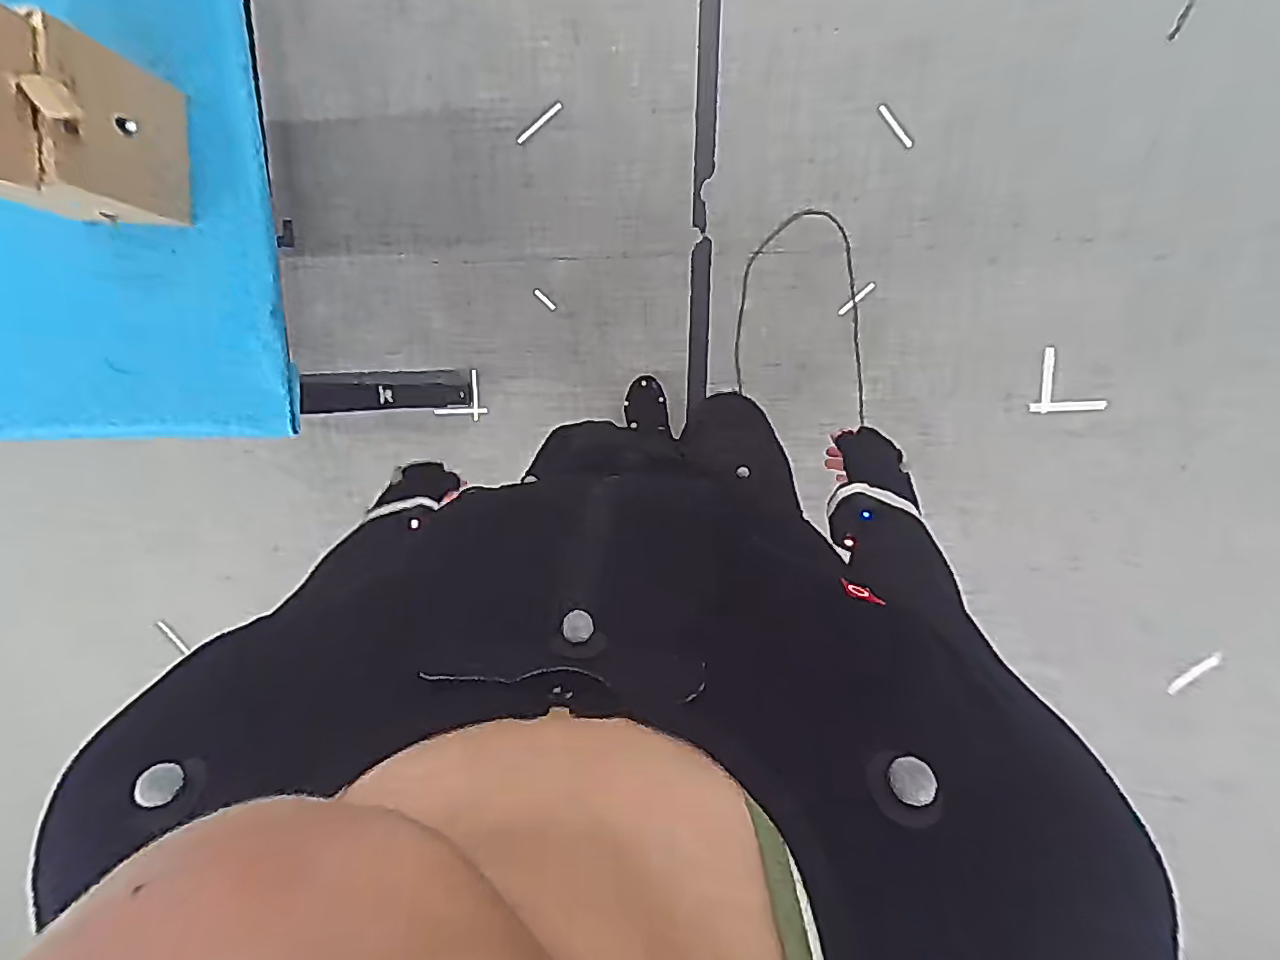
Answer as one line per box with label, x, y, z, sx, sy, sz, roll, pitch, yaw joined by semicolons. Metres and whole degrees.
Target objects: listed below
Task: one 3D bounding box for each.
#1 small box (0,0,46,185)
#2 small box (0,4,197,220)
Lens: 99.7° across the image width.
small box;-0.713;-0.389;0.485;0.179;0.176;0.168;9;100;2
small box;-0.687;-0.424;0.645;0.179;0.176;0.168;5;99;4
